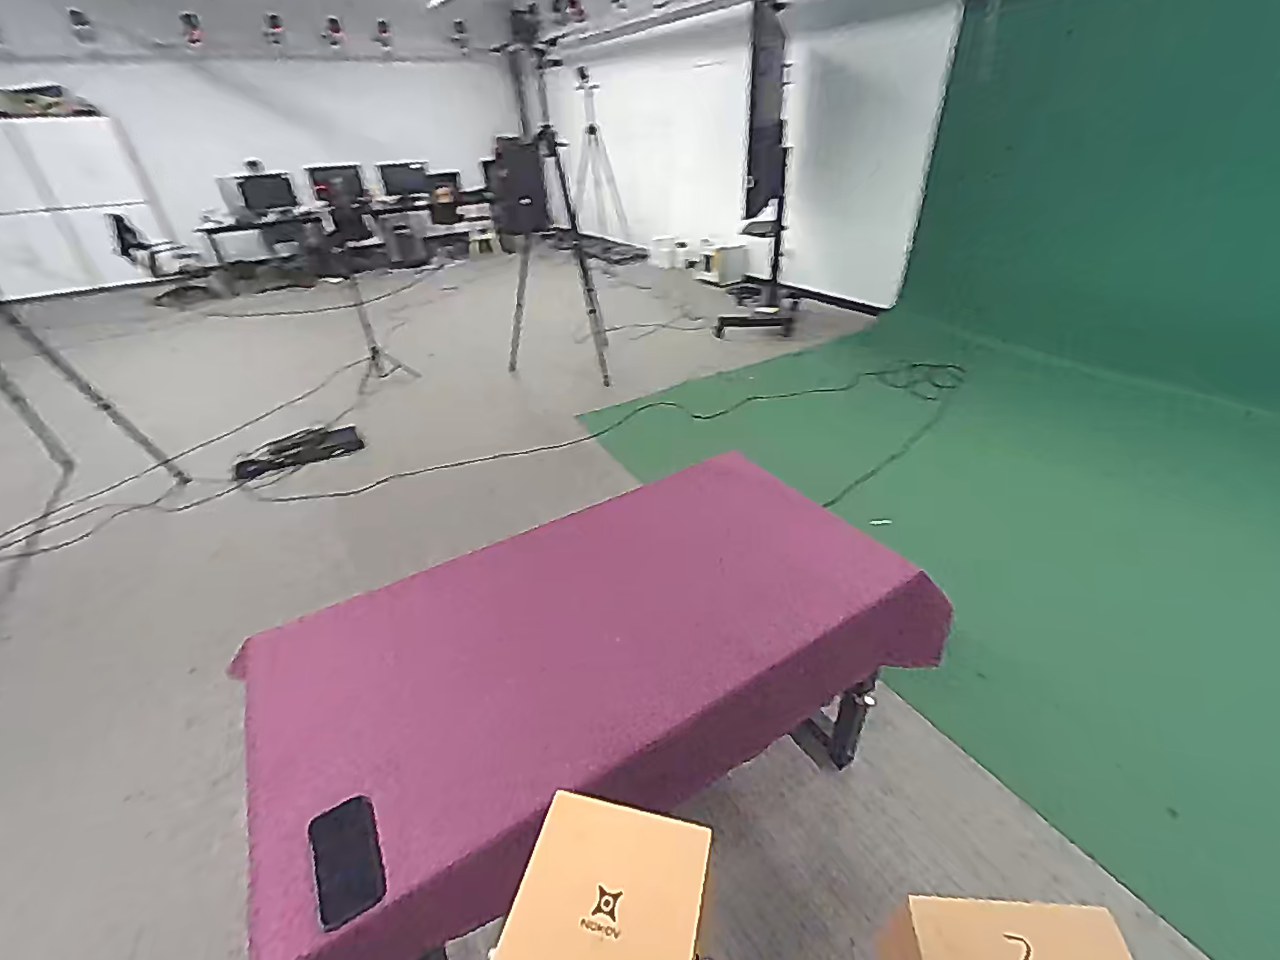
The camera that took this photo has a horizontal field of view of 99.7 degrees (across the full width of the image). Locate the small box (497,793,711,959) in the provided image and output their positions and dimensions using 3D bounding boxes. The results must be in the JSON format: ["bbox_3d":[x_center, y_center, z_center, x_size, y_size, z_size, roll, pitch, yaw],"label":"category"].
[{"bbox_3d":[-0.025,0.452,0.530,0.168,0.176,0.179,4,35,14],"label":"small box"}]
